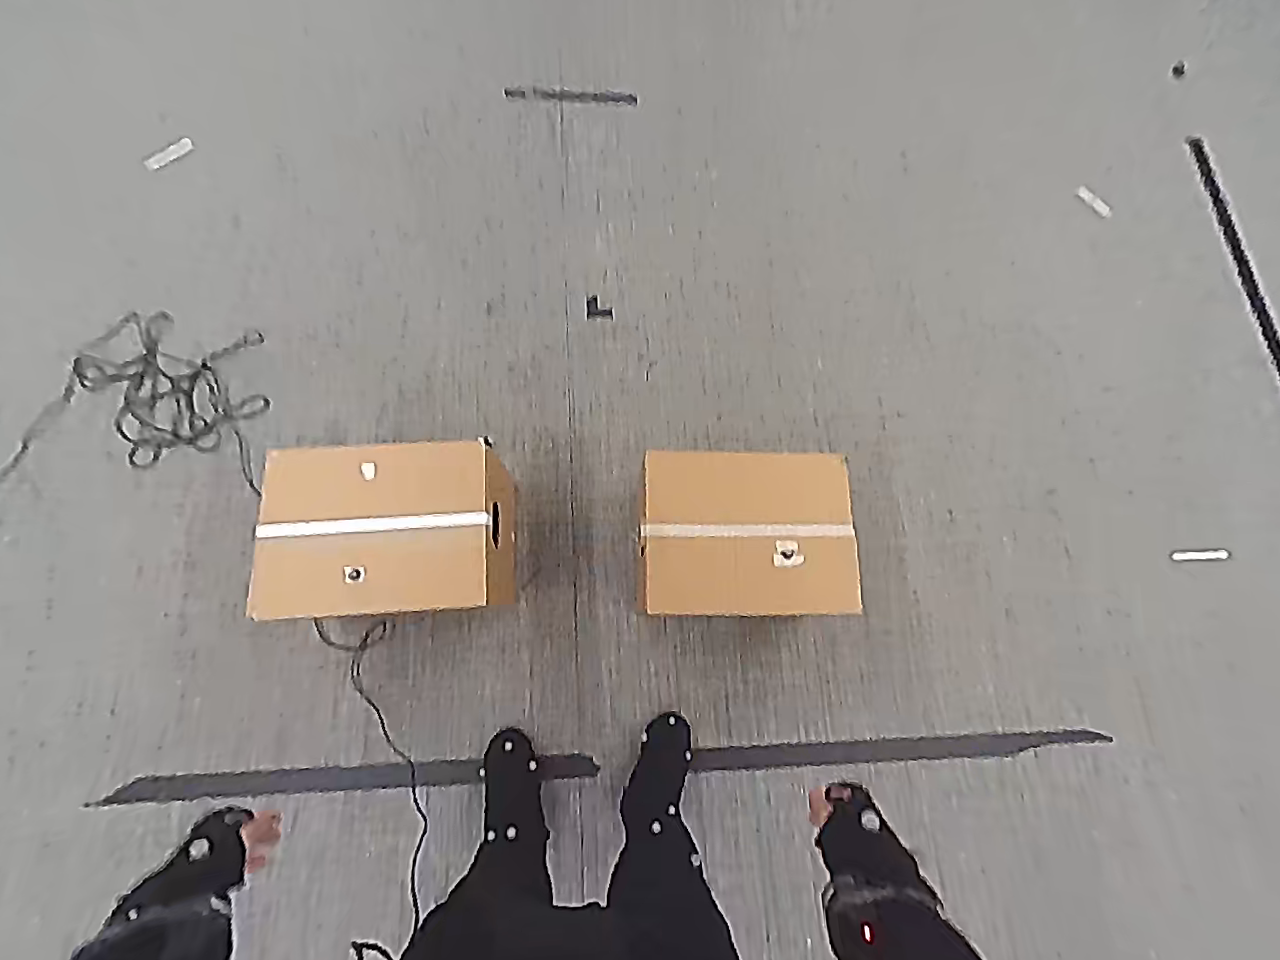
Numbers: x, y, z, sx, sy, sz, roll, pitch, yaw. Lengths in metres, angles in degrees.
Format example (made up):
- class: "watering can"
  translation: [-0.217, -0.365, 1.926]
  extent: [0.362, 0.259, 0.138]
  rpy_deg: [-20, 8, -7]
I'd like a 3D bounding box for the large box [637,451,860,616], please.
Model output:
- class: "large box"
  translation: [0.204, 0.132, 1.183]
  extent: [0.408, 0.320, 0.320]
  rpy_deg: [1, 76, -4]
